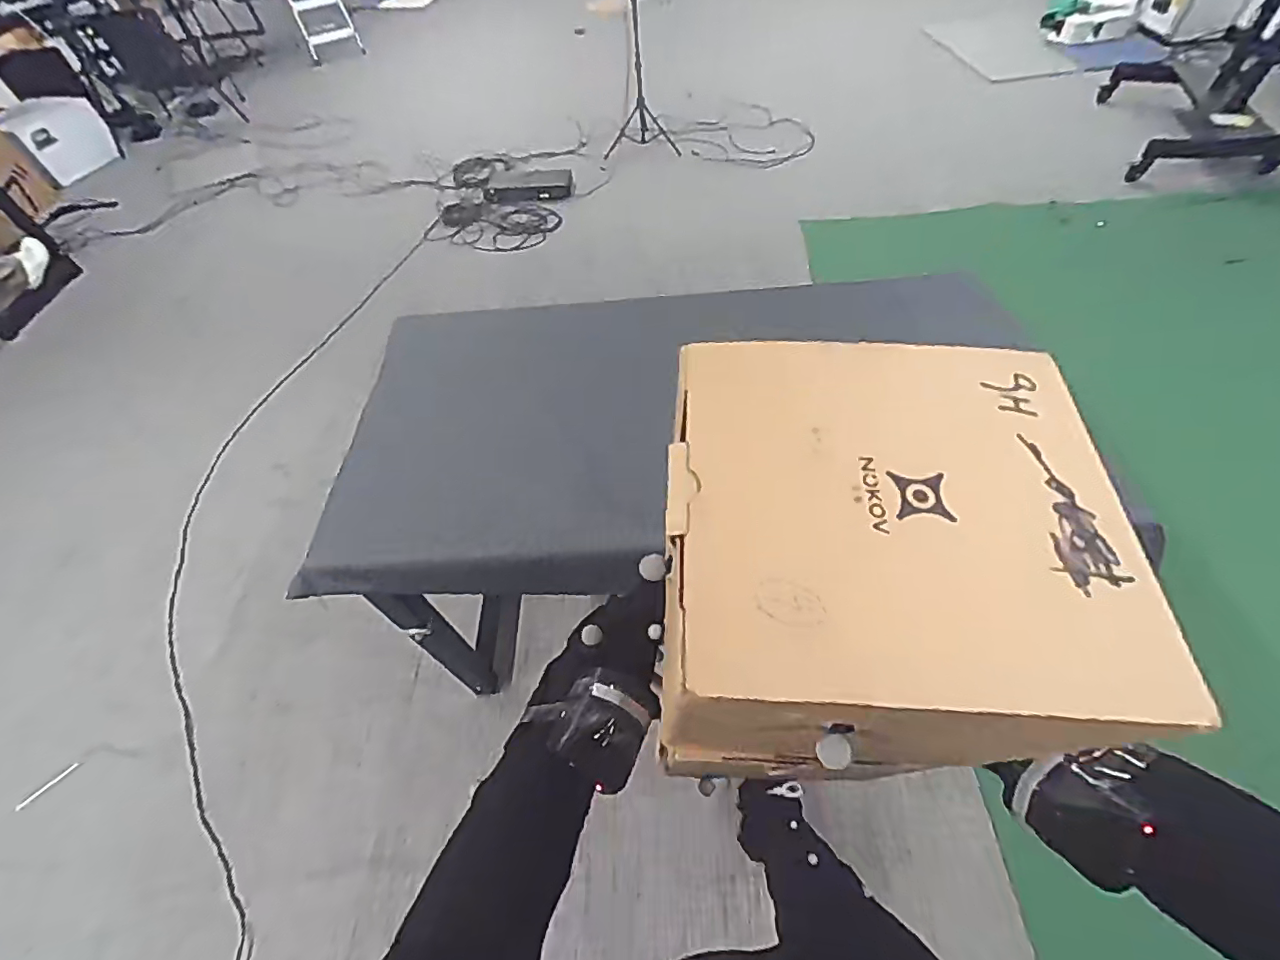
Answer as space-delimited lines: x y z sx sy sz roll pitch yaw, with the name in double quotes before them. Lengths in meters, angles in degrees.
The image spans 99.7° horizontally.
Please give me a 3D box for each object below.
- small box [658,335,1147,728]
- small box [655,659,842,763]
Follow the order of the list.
"small box" 0.098 0.039 0.305 0.179 0.176 0.168 0 57 0
"small box" 0.104 0.198 0.588 0.168 0.176 0.179 3 60 3
